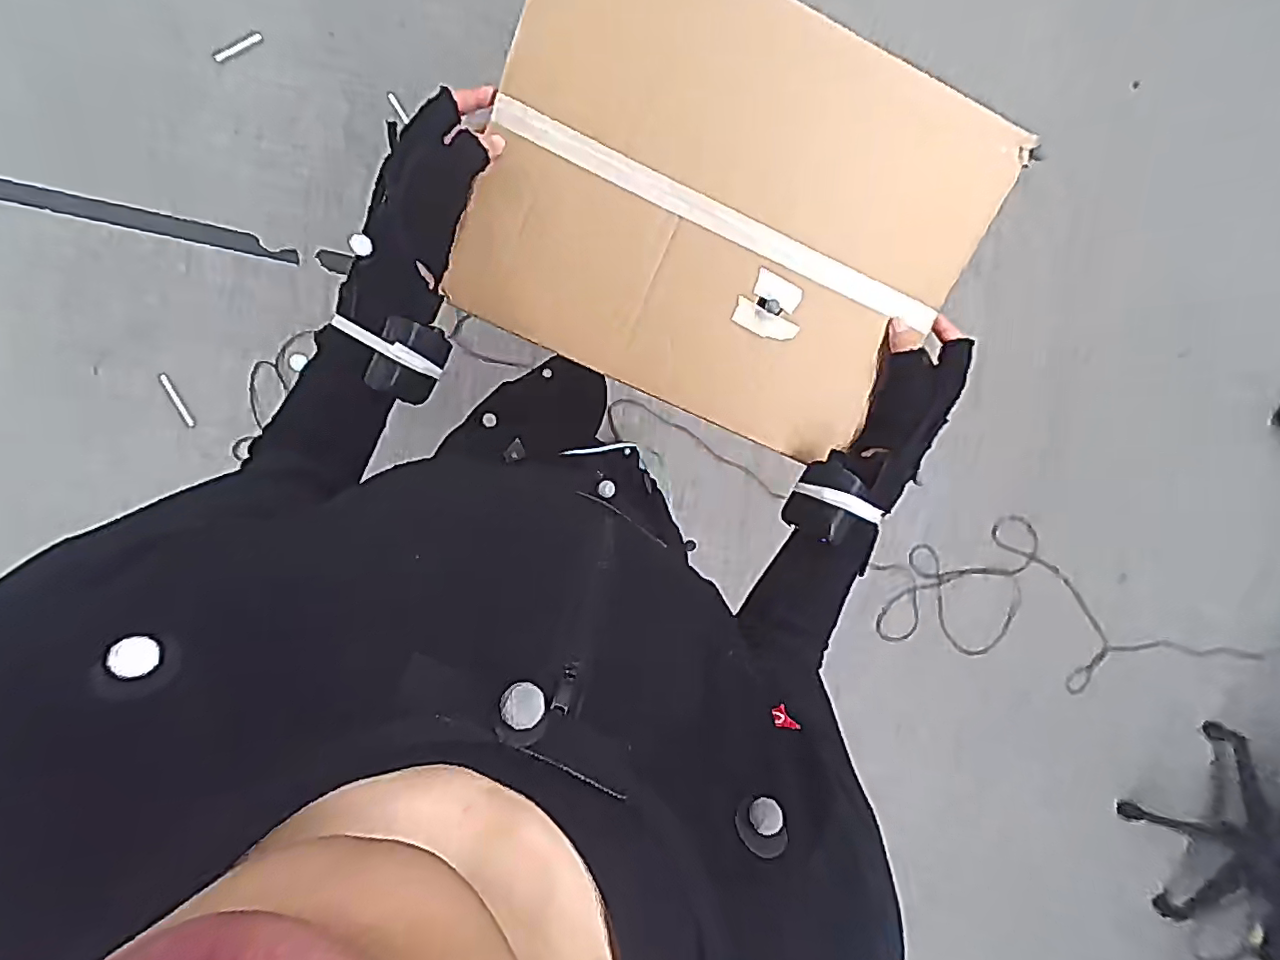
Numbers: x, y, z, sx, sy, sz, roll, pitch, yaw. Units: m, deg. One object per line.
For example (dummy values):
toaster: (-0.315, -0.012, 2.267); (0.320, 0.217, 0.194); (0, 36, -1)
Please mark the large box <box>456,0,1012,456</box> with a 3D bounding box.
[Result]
large box: (0.069, -0.273, 0.609); (0.408, 0.320, 0.320); (23, 107, -8)
